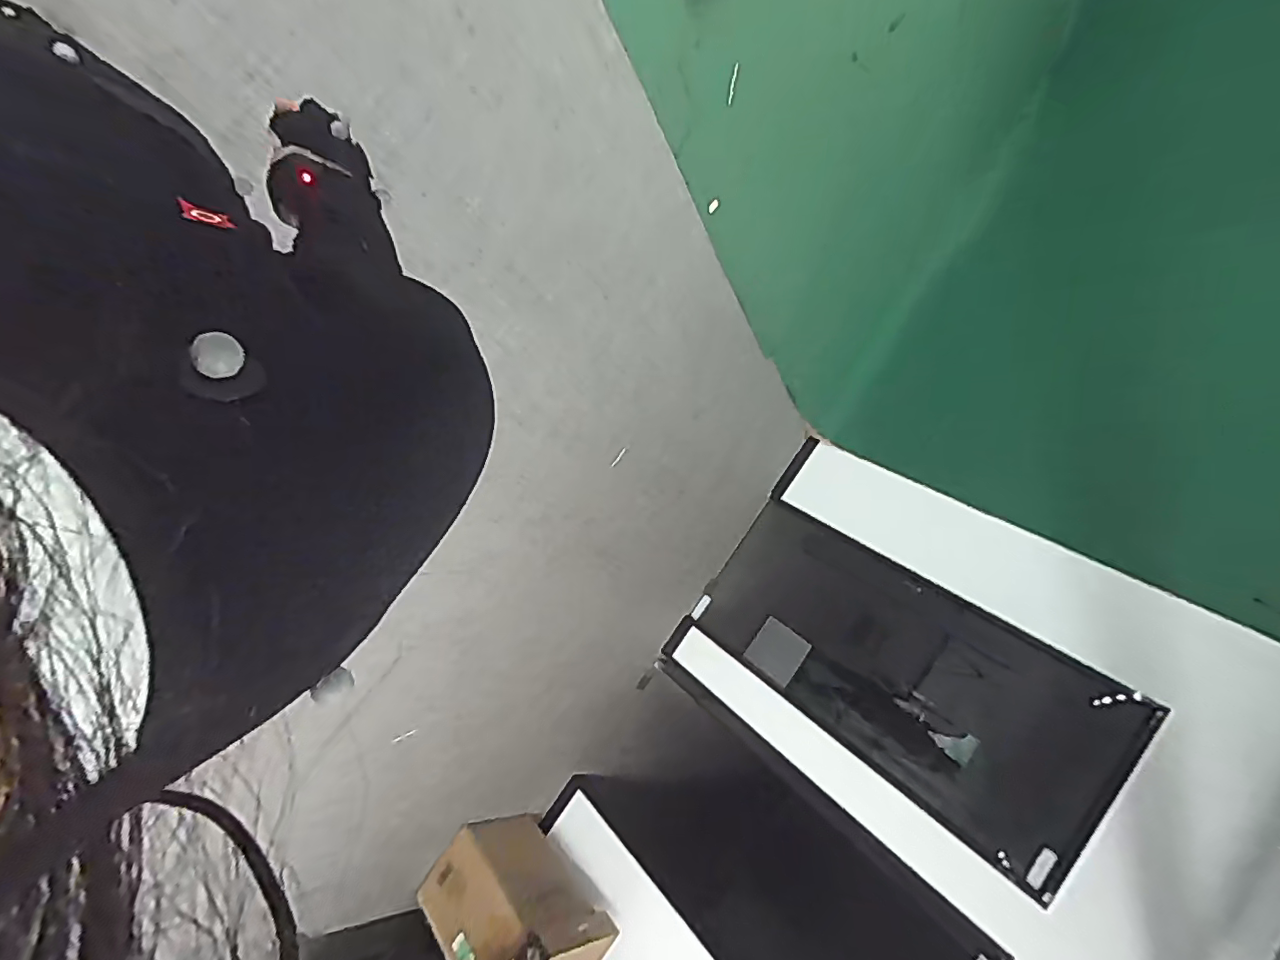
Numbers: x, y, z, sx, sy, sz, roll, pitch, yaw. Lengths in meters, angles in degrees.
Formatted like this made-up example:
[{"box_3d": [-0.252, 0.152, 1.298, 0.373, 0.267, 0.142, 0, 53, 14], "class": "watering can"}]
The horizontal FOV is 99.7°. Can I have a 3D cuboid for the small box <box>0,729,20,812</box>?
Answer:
[{"box_3d": [-1.475, 0.657, 1.146, 0.179, 0.176, 0.168, -55, 144, -3], "class": "small box"}]
